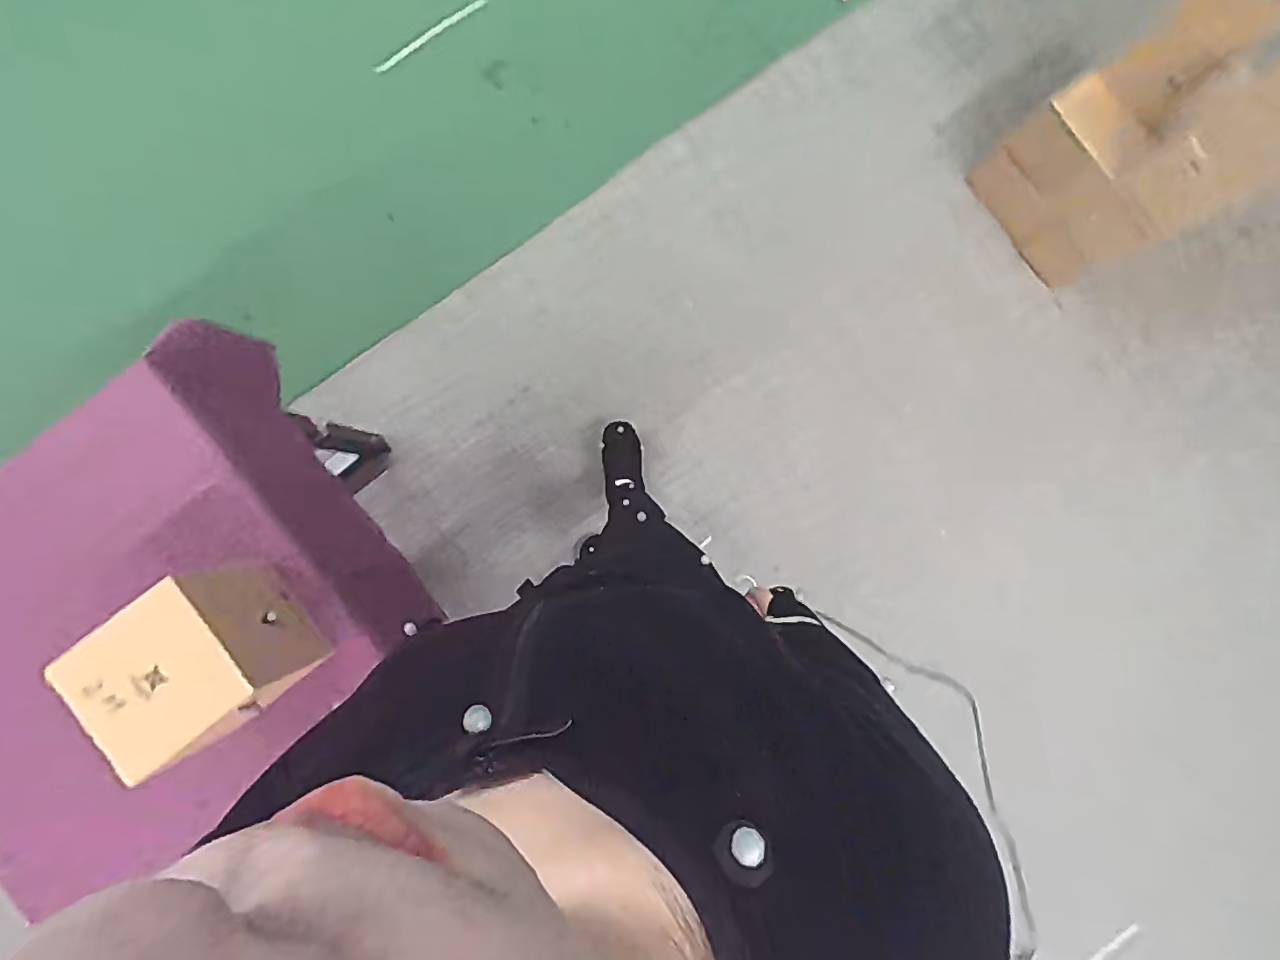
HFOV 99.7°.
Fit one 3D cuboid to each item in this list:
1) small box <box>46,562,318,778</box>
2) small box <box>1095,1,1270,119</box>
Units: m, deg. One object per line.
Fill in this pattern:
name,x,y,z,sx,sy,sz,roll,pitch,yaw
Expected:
small box,-0.553,0.222,0.688,0.179,0.176,0.168,-37,88,-2
small box,1.167,-0.934,1.177,0.168,0.176,0.179,-38,88,-5
